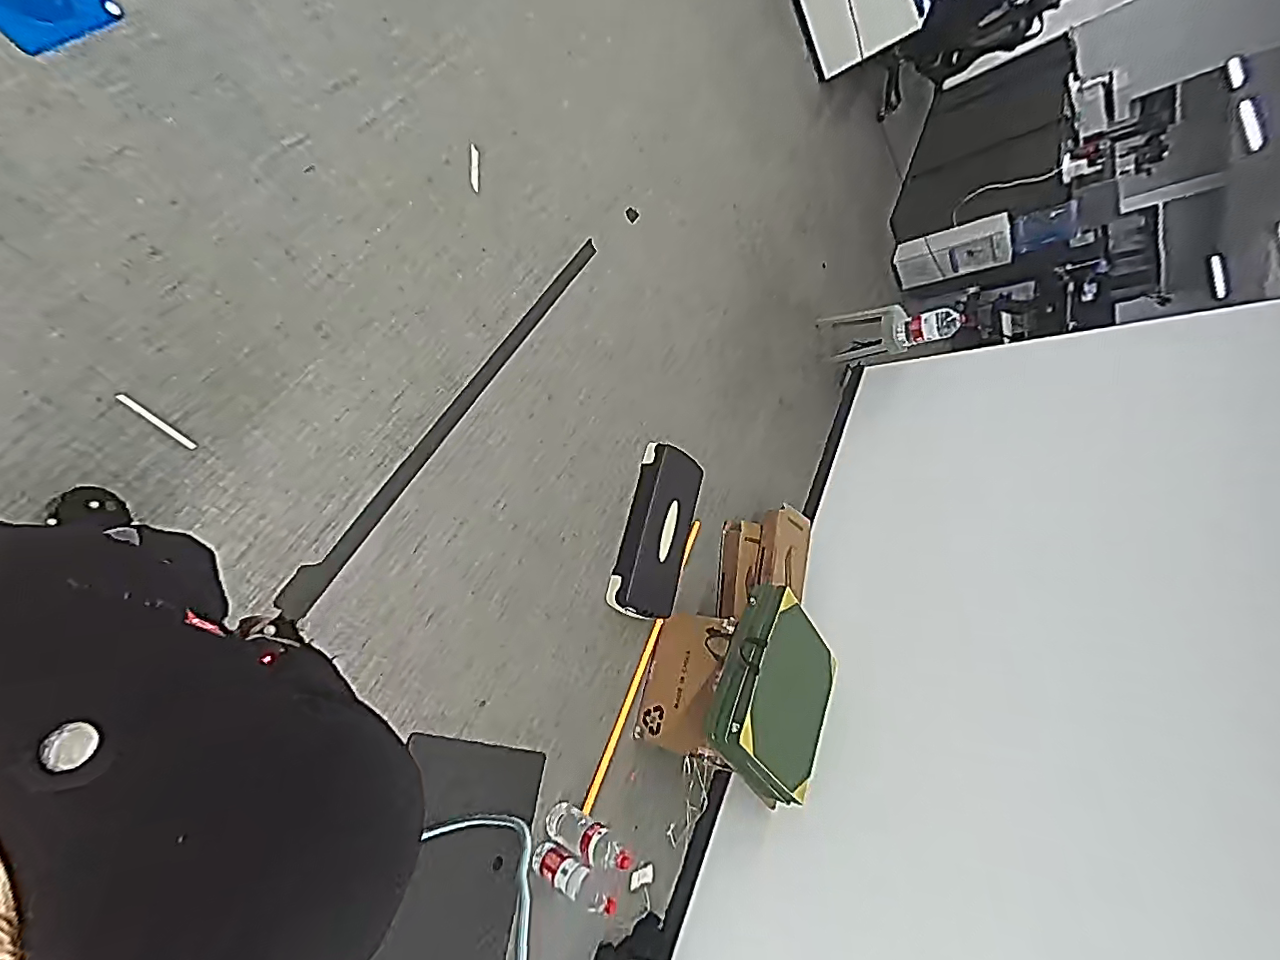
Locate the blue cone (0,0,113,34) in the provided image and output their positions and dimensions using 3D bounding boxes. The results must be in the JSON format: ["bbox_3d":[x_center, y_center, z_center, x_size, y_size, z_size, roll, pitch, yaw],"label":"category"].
[{"bbox_3d":[-0.959,-0.898,0.825,0.193,0.380,0.192,52,52,-33],"label":"blue cone"}]
